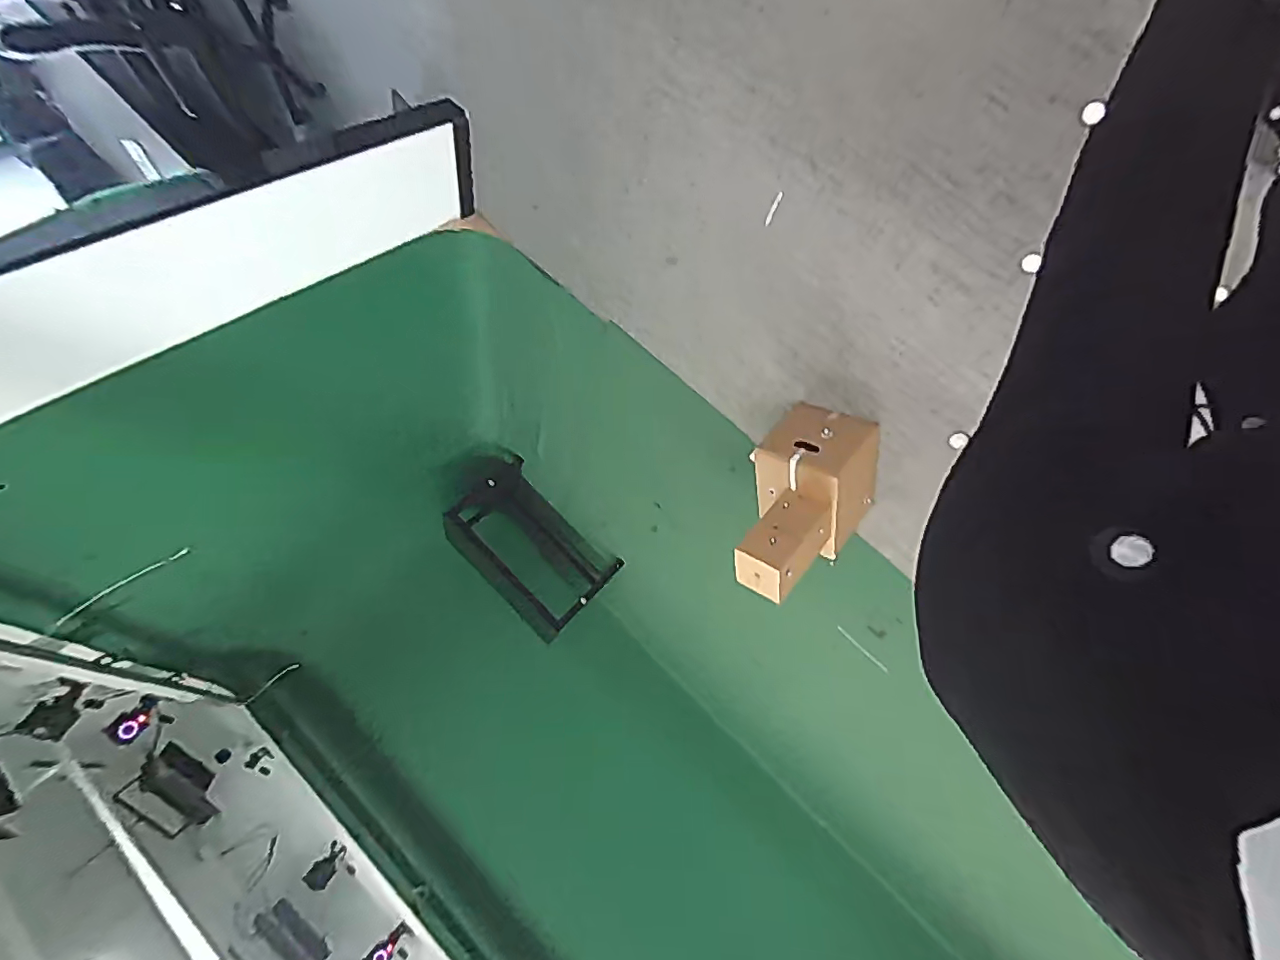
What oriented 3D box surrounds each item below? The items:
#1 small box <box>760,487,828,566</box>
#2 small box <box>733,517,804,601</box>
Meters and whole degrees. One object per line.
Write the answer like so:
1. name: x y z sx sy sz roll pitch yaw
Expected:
1. small box: 0.524 0.150 1.834 0.168 0.176 0.179 24 144 36
2. small box: 0.418 0.249 1.755 0.168 0.176 0.179 26 145 35
